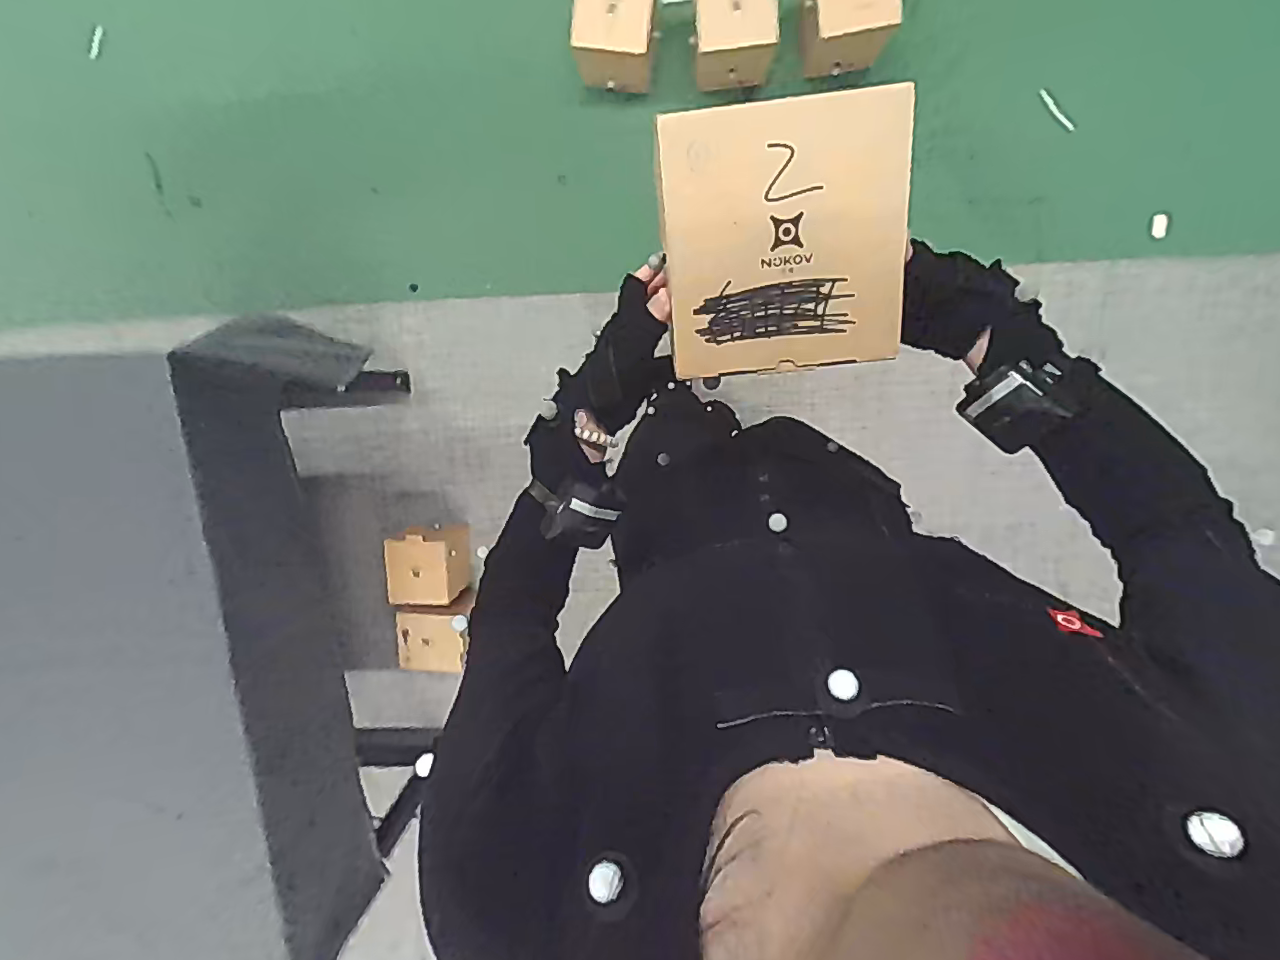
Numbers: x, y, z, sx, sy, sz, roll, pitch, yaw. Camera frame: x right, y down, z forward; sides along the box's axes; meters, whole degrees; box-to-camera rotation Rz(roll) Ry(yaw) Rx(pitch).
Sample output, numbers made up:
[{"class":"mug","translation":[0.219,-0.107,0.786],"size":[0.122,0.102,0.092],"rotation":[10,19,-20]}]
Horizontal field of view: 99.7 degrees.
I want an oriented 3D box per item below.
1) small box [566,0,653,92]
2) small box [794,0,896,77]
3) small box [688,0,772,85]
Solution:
[{"class":"small box","translation":[-0.062,-1.023,1.220],"size":[0.168,0.176,0.179],"rotation":[9,101,2]},{"class":"small box","translation":[0.442,-1.038,1.189],"size":[0.168,0.176,0.179],"rotation":[-7,99,5]},{"class":"small box","translation":[0.196,-1.015,1.205],"size":[0.168,0.176,0.179],"rotation":[-4,100,3]}]
